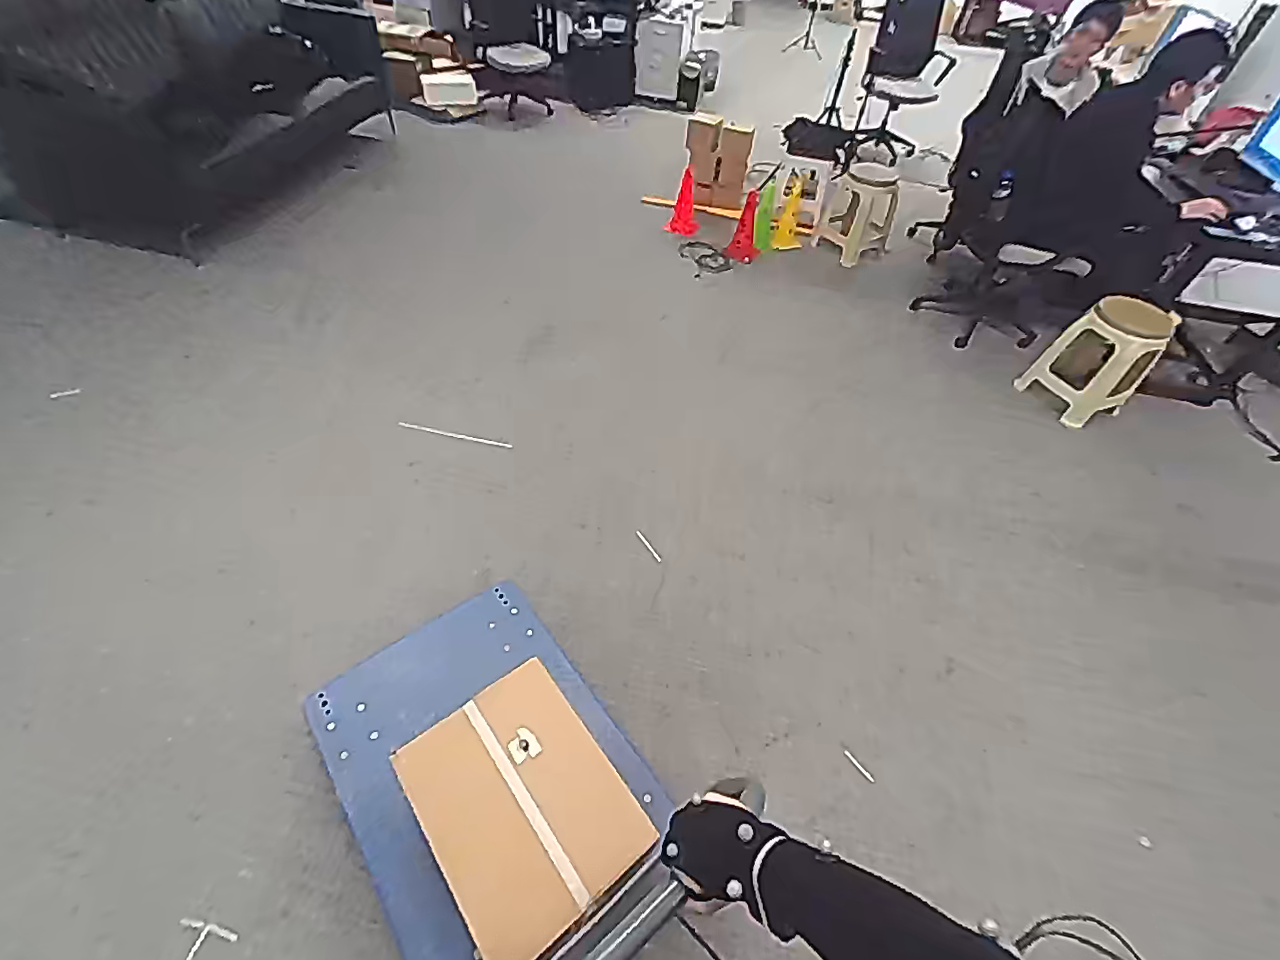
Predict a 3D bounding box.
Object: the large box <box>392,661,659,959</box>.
[{"bbox_3d":[-0.214,0.655,1.063,0.320,0.320,0.408,-30,57,-28],"label":"large box"}]
